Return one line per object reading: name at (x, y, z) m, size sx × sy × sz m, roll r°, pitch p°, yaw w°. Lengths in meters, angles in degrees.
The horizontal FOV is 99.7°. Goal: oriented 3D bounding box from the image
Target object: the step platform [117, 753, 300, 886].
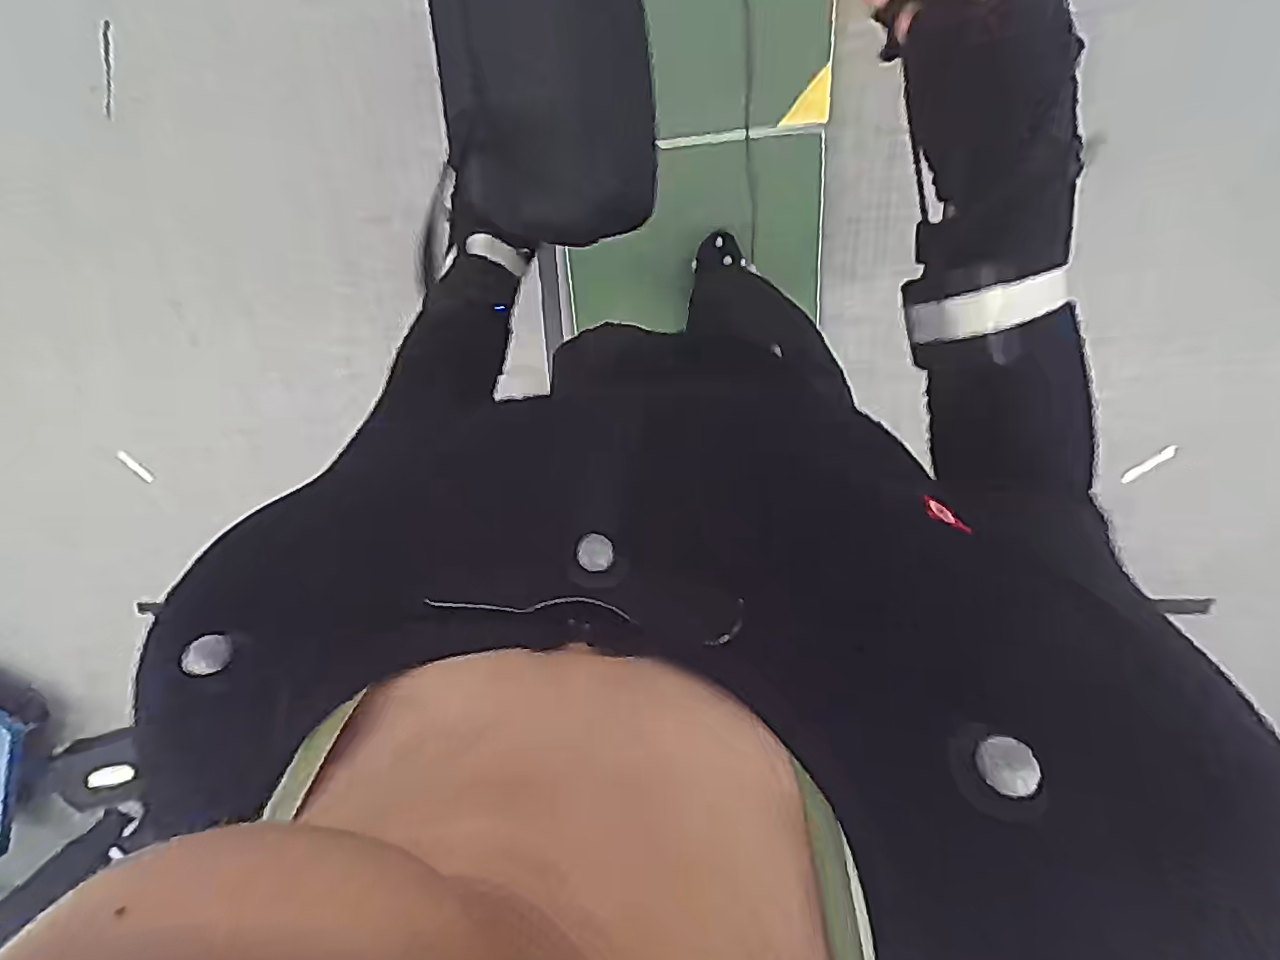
step platform at (-1.704, 1.344, 2.129) m, size 0.684 × 0.204 × 0.286 m, roll -30°, pitch 104°, yaw 15°
